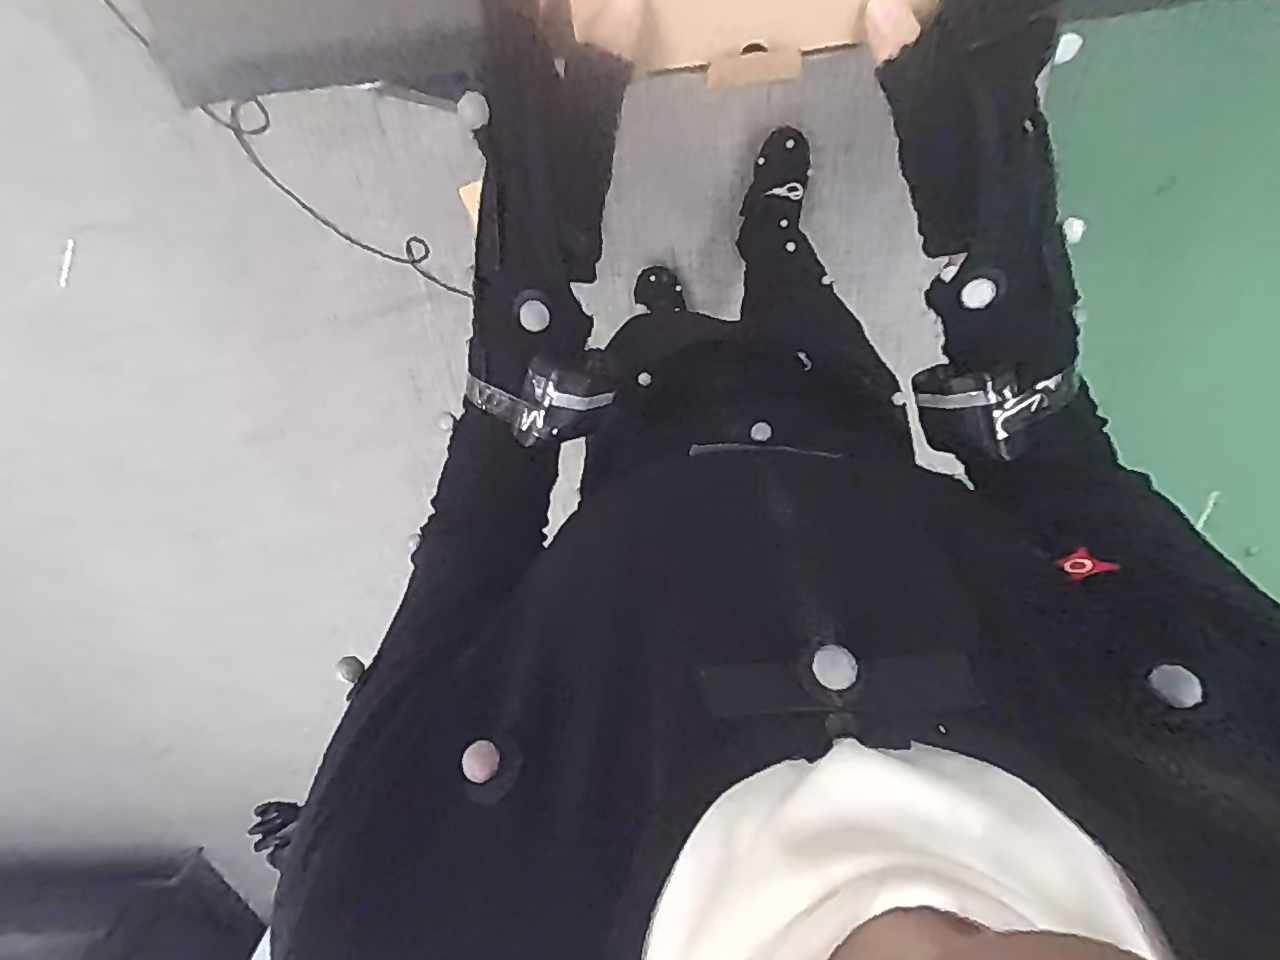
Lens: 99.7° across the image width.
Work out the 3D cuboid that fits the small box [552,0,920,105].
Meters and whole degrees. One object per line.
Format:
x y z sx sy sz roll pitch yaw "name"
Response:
0.033 -0.311 0.248 0.168 0.176 0.179 -8 138 5 "small box"
